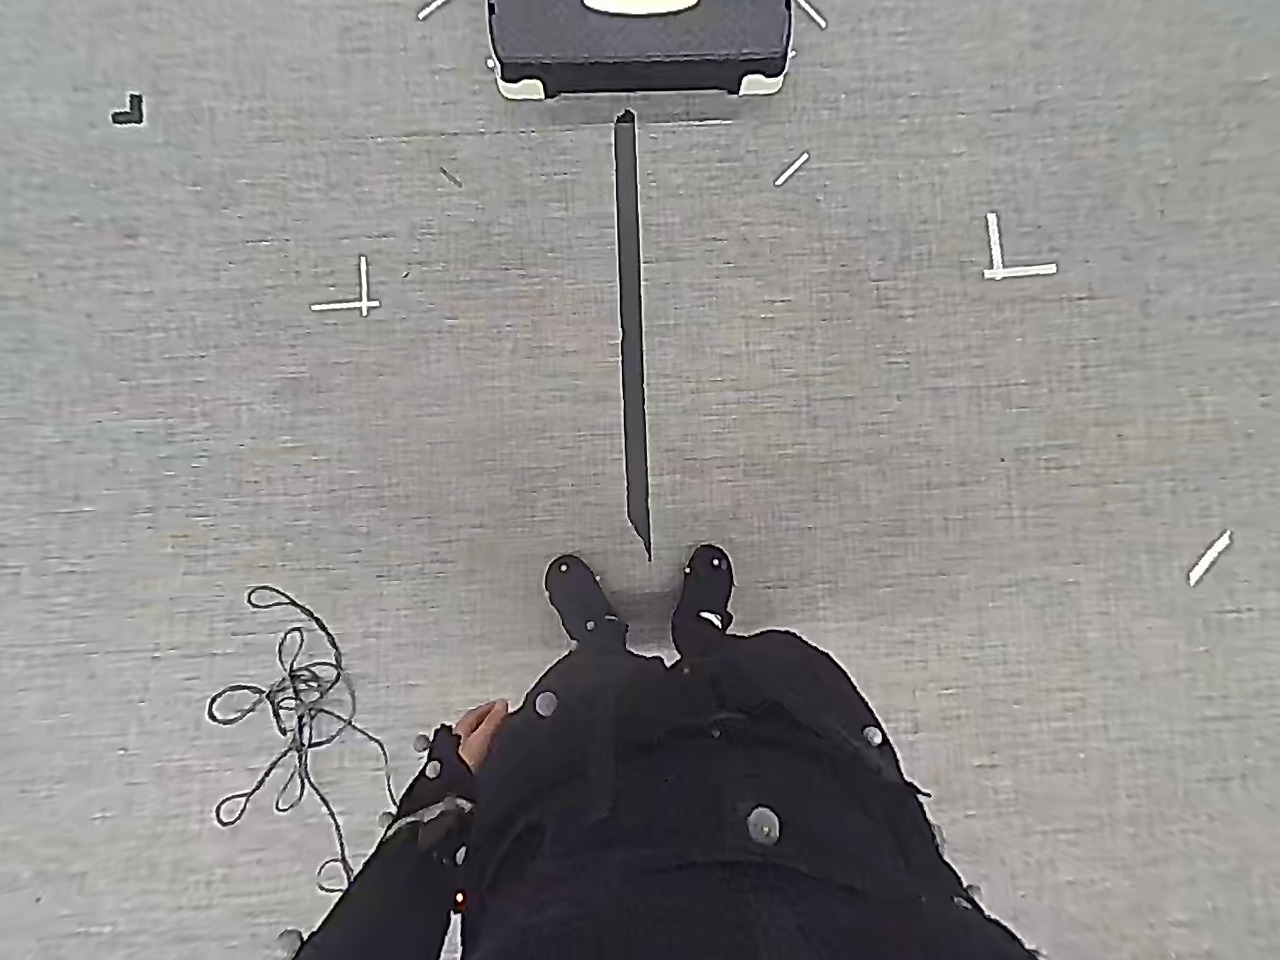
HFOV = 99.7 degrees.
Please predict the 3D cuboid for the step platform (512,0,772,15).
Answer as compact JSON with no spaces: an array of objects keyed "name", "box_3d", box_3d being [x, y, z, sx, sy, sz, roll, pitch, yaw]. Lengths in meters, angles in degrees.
[{"name":"step platform","box_3d":[0.000,-1.288,1.229,0.684,0.204,0.286,2,86,-2]}]
